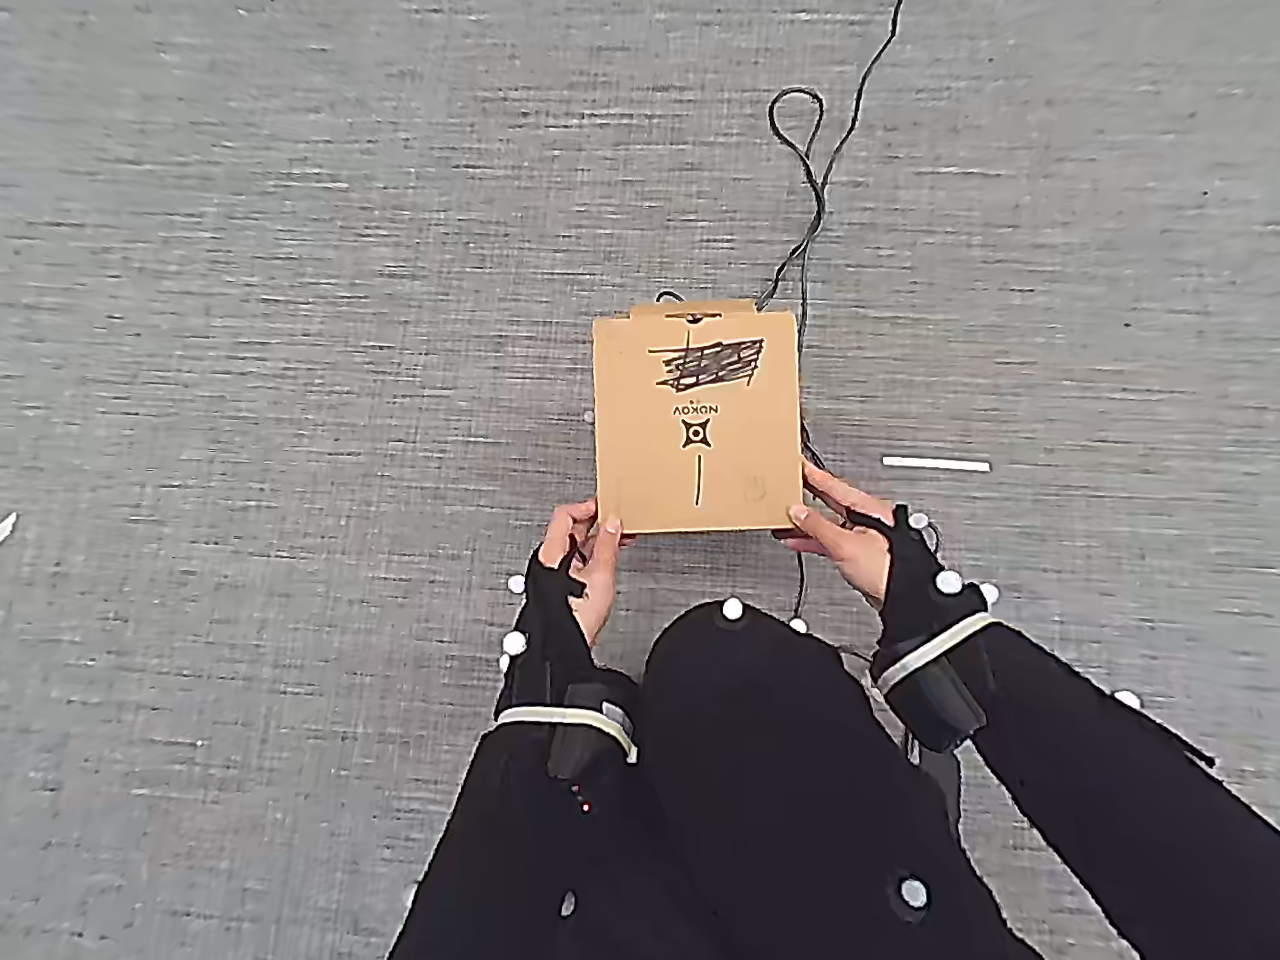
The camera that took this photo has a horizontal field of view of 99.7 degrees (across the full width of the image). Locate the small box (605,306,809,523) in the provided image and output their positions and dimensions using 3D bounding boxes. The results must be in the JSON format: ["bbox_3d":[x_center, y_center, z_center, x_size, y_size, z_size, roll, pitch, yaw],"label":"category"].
[{"bbox_3d":[0.053,-0.050,0.514,0.168,0.176,0.179,-1,89,1],"label":"small box"}]
